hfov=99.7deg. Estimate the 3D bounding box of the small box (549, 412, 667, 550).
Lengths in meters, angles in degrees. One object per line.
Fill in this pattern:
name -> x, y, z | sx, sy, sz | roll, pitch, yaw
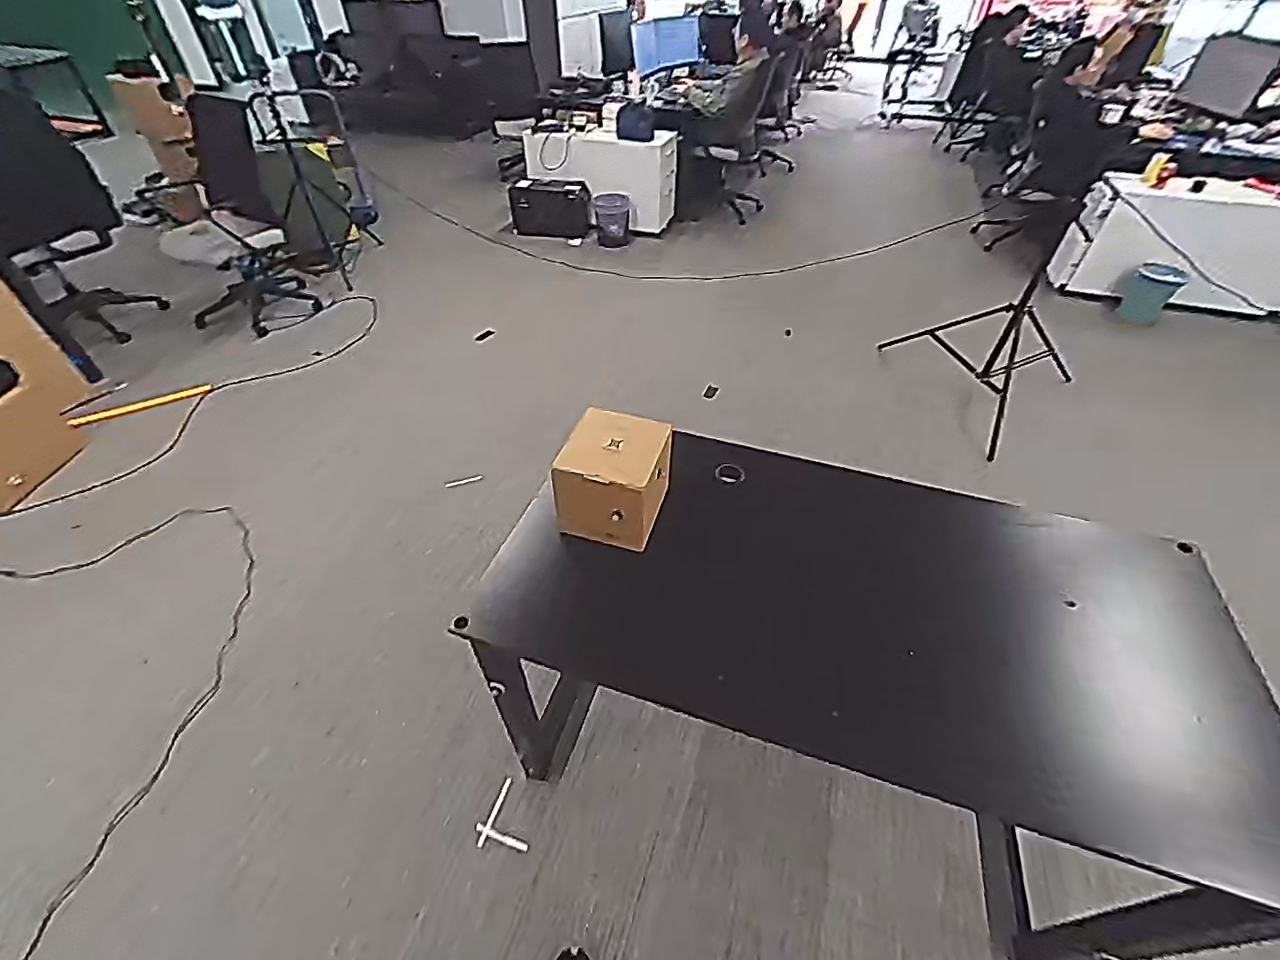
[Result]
small box -> -0.052, 0.004, 1.001 | 0.168, 0.176, 0.179 | 13, 45, 11
